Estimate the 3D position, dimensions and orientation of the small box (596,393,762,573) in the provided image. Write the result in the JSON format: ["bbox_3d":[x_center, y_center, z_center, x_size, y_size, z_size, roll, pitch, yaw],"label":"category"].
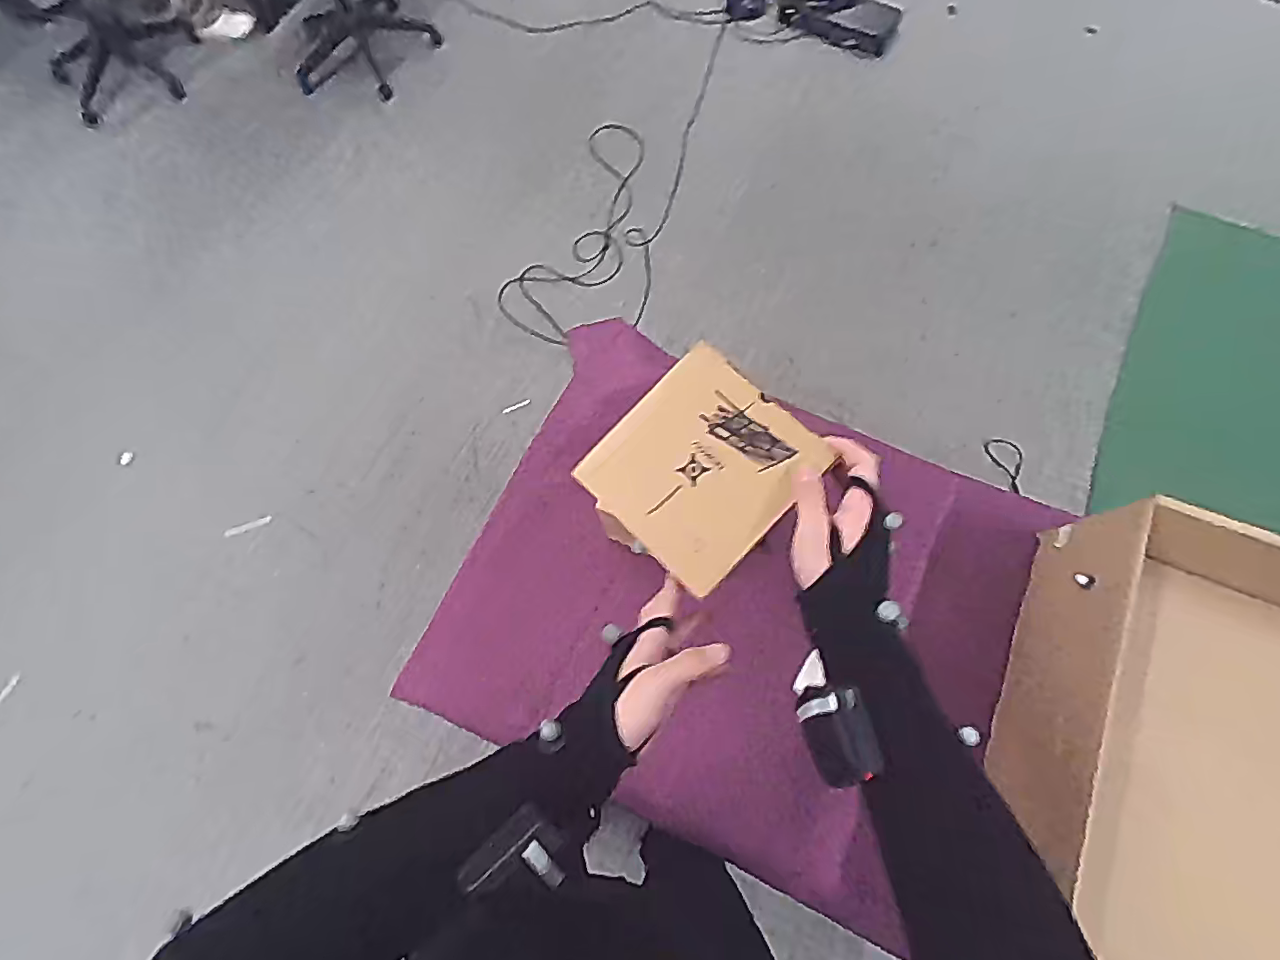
[{"bbox_3d":[0.056,0.014,0.766,0.168,0.176,0.179,22,72,11],"label":"small box"}]
